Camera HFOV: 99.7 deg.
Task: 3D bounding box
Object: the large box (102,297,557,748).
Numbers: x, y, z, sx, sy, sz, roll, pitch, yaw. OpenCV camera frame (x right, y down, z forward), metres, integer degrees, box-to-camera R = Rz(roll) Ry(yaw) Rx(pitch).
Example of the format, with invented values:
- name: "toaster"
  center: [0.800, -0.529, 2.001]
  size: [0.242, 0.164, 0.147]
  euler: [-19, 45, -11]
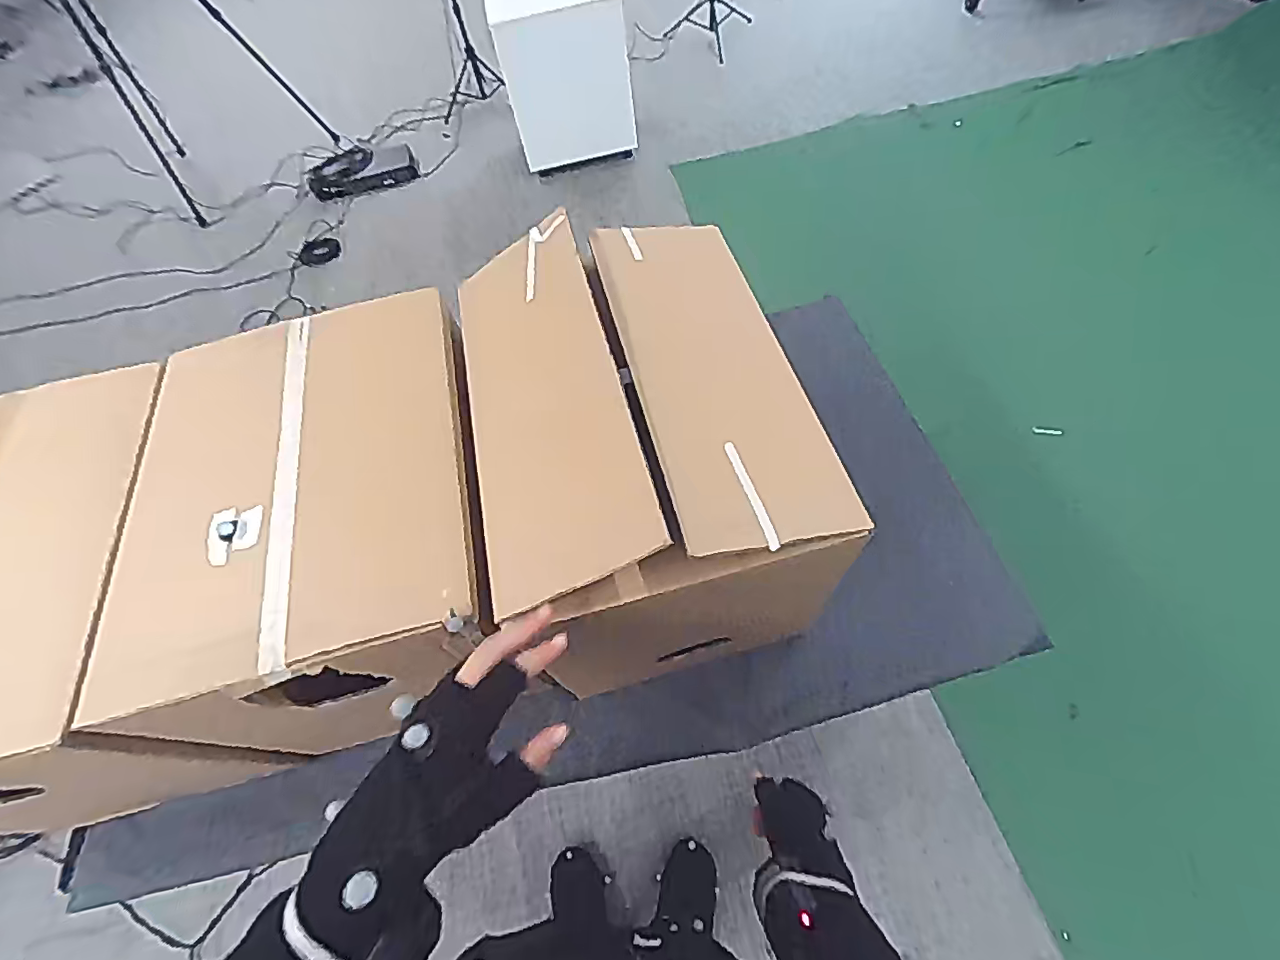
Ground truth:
- name: "large box"
  center: [-0.311, 0.060, 0.652]
  size: [0.320, 0.320, 0.408]
  euler: [-16, 60, -2]
